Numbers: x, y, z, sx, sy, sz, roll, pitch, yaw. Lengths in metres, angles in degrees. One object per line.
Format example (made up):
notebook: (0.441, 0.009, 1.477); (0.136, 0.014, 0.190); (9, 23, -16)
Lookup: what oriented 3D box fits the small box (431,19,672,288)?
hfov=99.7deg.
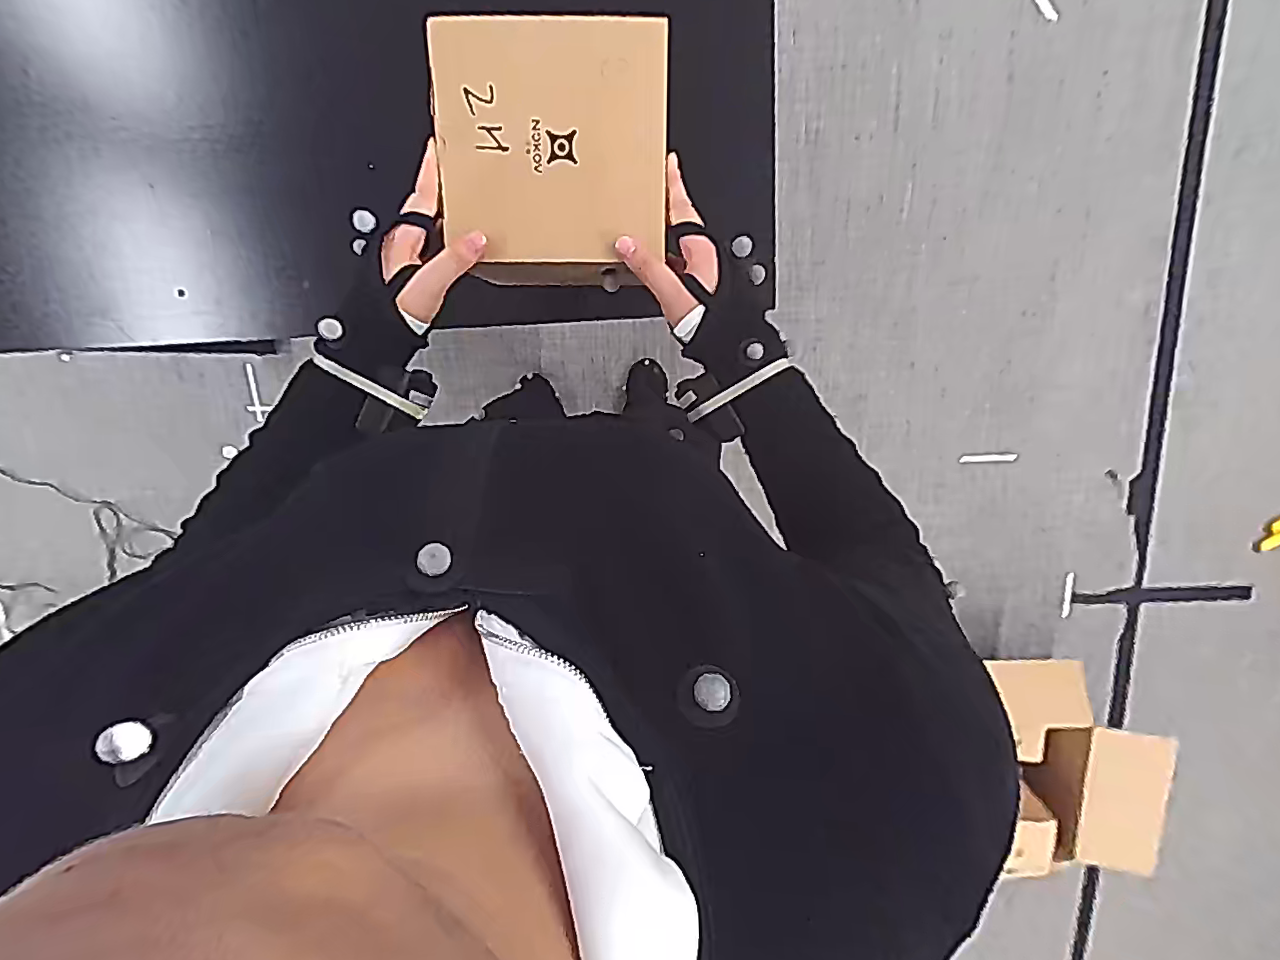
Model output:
small box: (-0.066, -0.268, 0.485); (0.179, 0.176, 0.168); (1, 104, 0)

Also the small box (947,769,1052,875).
small box: (0.938, 0.890, 1.426); (0.168, 0.176, 0.179); (-5, 106, 0)
